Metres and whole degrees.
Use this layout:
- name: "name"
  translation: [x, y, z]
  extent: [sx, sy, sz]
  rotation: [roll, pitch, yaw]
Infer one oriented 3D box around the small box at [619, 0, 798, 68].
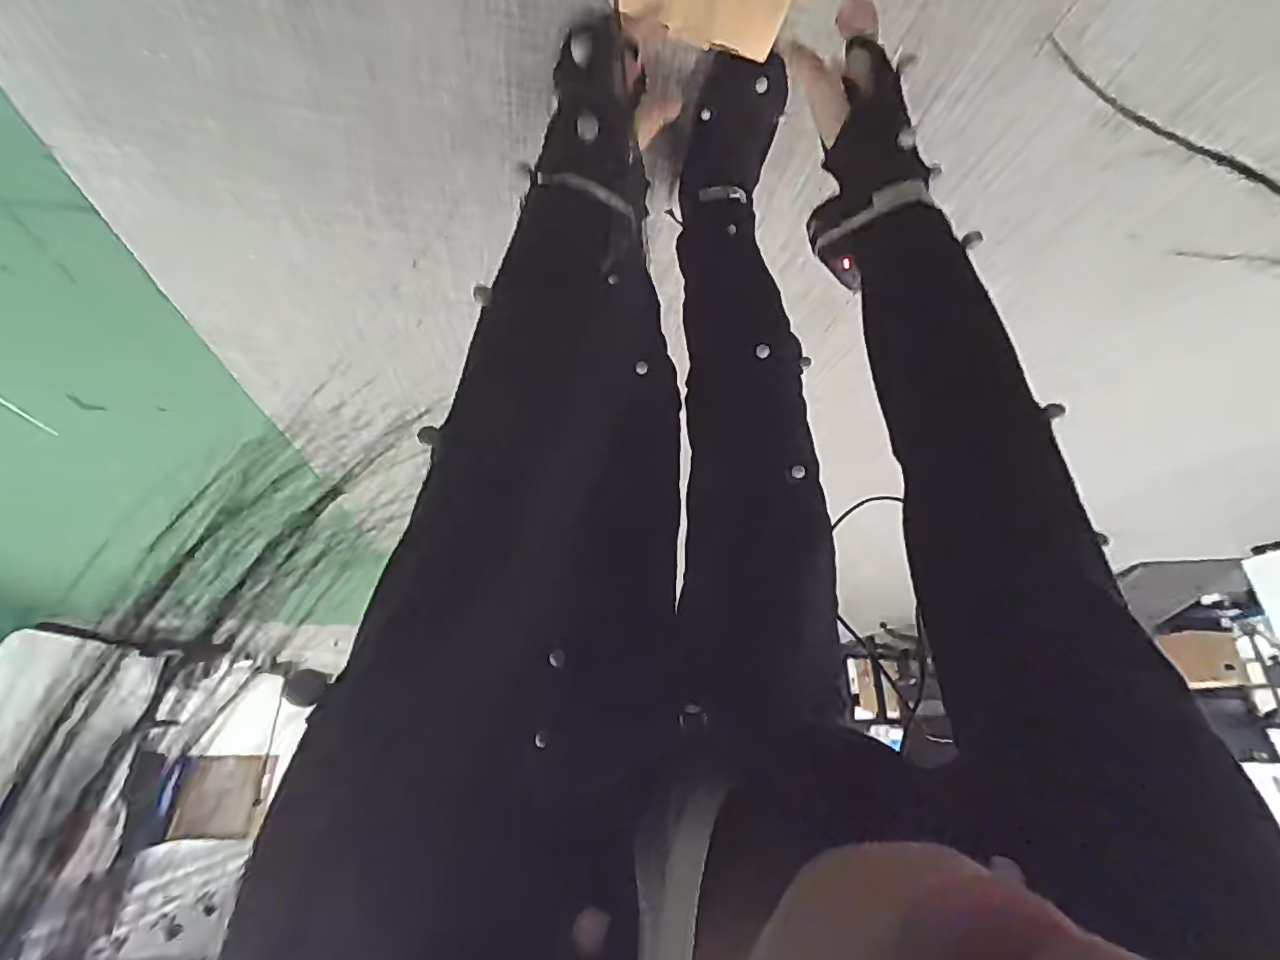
- name: "small box"
  translation: [0.080, -0.550, 0.507]
  extent: [0.168, 0.176, 0.179]
  rotation: [8, 154, -16]
